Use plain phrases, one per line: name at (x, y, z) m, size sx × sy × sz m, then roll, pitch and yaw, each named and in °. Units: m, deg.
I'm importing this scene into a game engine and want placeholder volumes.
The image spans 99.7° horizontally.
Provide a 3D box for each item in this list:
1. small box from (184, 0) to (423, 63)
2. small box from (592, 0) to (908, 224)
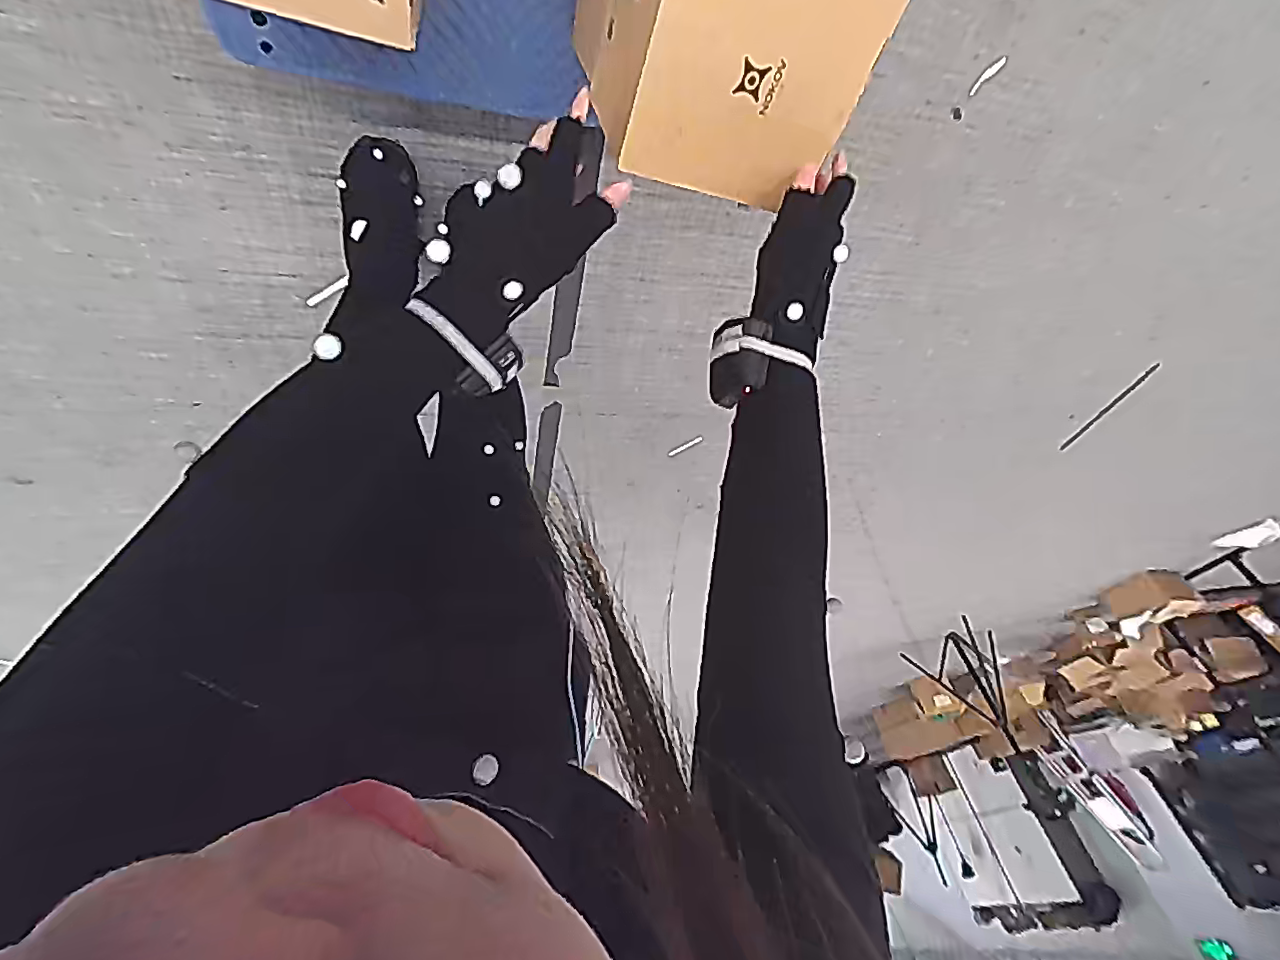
small box at (-0.270, -0.483, 0.437) m, size 0.179 × 0.176 × 0.168 m, roll 2°, pitch 140°, yaw -20°
small box at (0.068, -0.349, 0.452) m, size 0.179 × 0.176 × 0.168 m, roll 2°, pitch 140°, yaw -22°
